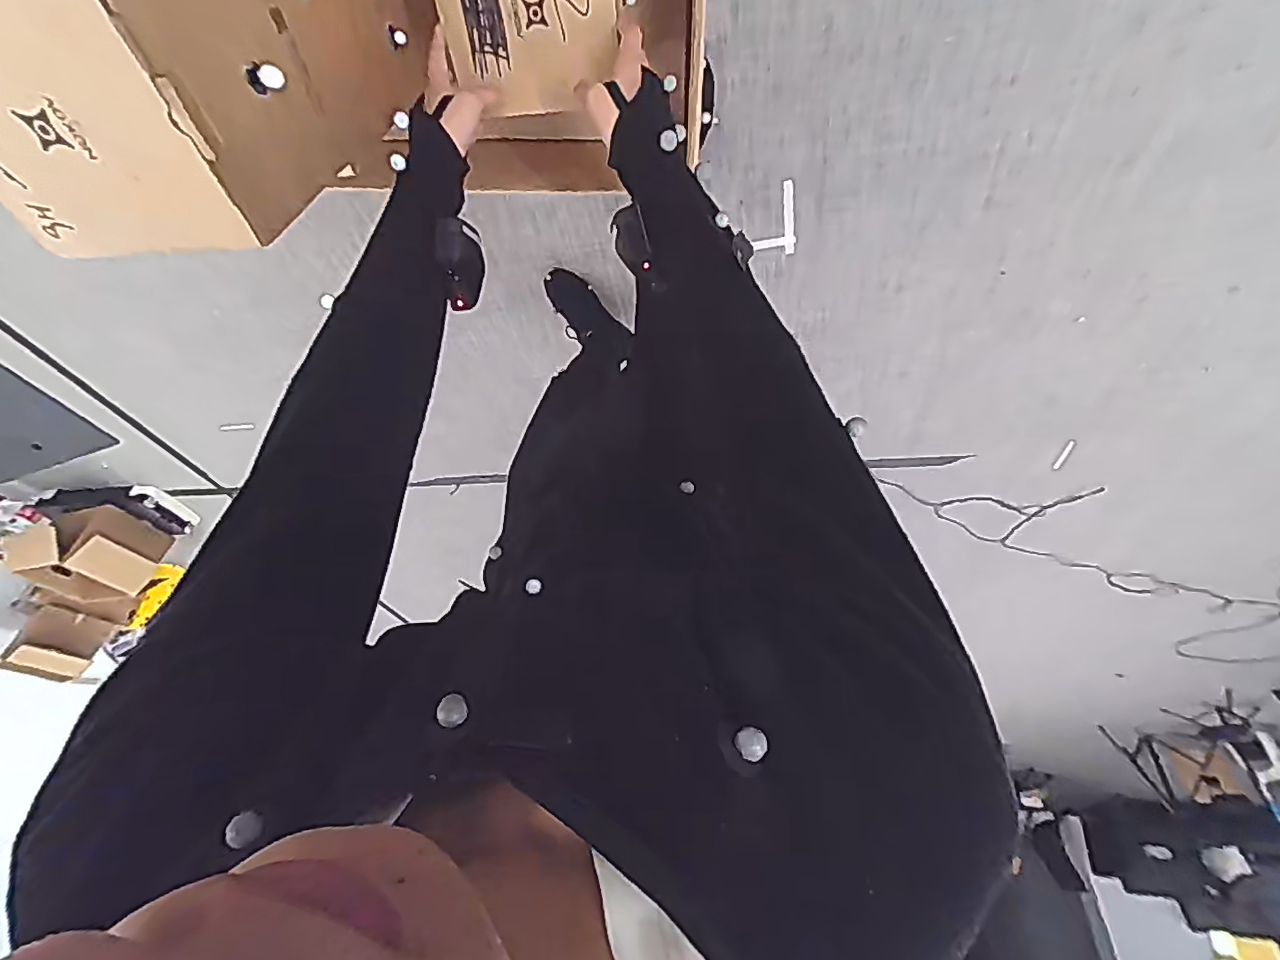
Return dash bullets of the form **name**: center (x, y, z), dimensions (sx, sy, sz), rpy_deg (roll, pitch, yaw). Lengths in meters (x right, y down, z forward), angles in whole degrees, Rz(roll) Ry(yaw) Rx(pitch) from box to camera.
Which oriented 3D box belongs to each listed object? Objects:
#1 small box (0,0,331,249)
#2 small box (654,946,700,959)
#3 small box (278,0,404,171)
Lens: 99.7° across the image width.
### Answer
- **small box**: center (-0.358, -0.288, 0.389), dimensions (0.179, 0.176, 0.168), rpy_deg (0, 141, 5)
- **small box**: center (0.150, 2.011, 2.182), dimensions (0.179, 0.176, 0.168), rpy_deg (-2, 142, 12)
- **small box**: center (-0.347, -0.411, 0.497), dimensions (0.168, 0.176, 0.179), rpy_deg (1, 142, 4)
